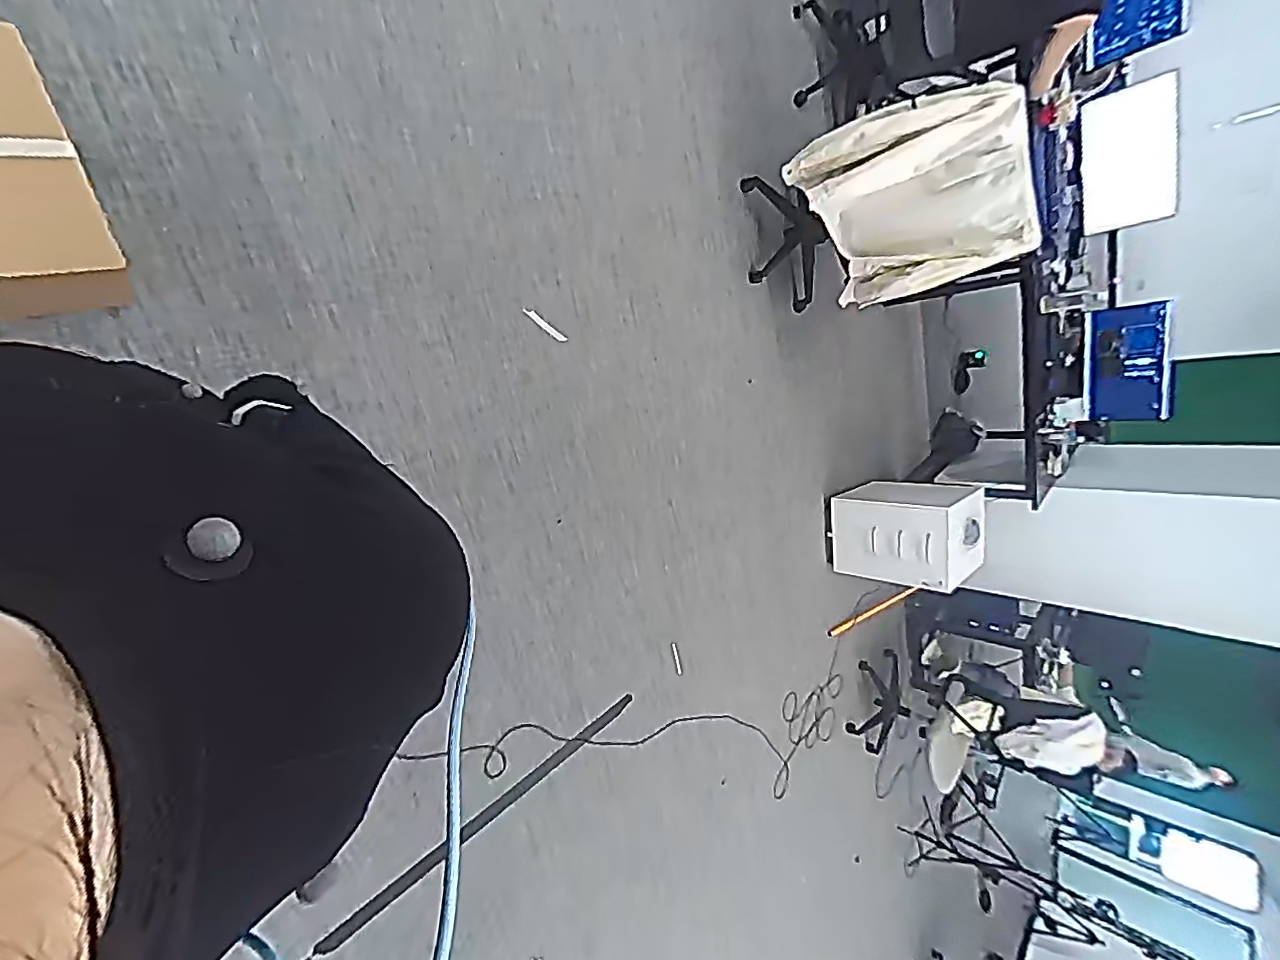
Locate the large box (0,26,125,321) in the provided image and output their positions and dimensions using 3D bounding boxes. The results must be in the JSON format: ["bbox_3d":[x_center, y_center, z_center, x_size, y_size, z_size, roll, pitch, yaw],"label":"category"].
[{"bbox_3d":[-1.033,-0.390,0.738,0.408,0.320,0.320,-27,112,-39],"label":"large box"}]
